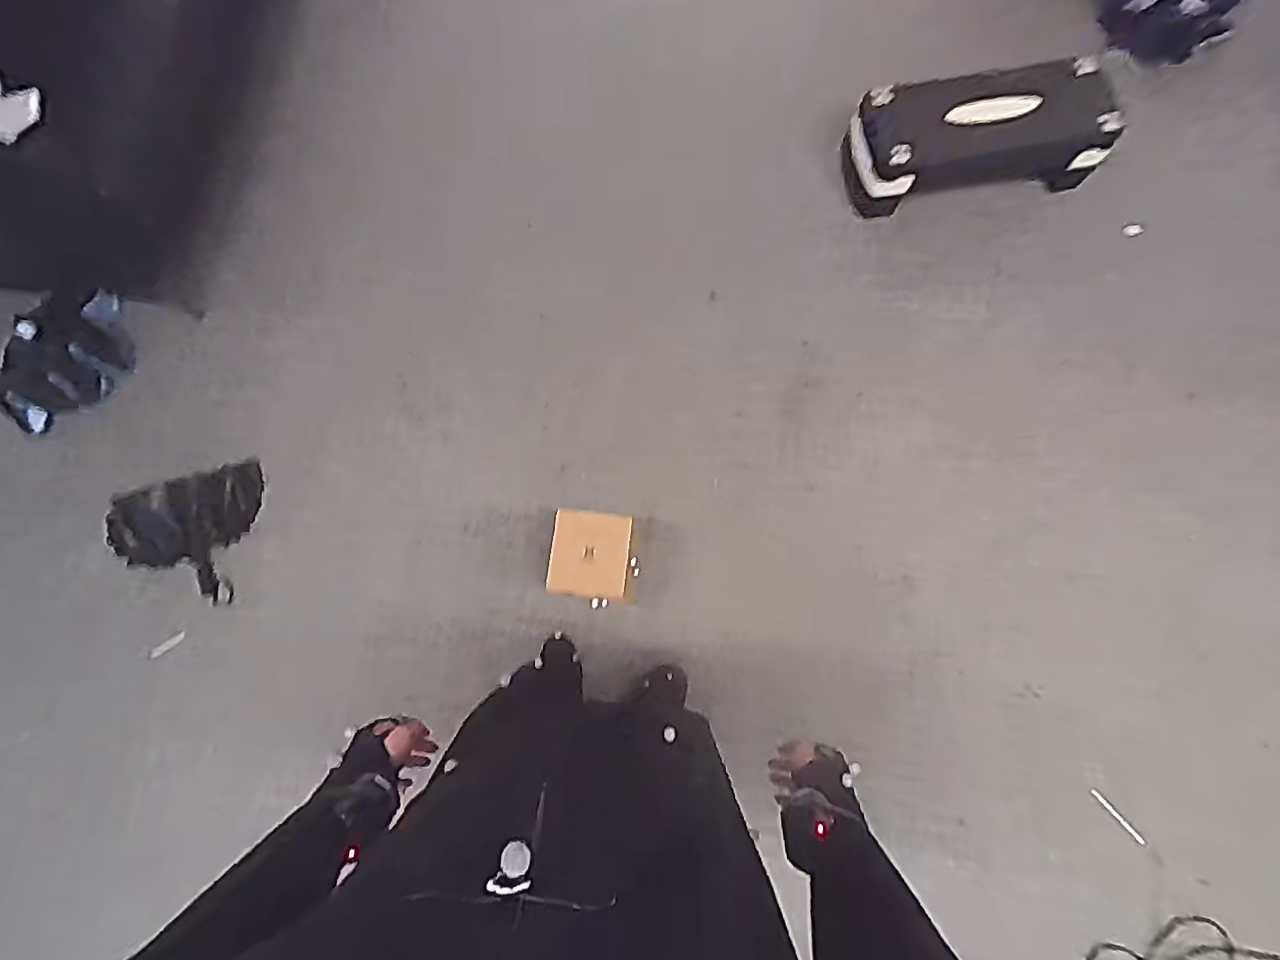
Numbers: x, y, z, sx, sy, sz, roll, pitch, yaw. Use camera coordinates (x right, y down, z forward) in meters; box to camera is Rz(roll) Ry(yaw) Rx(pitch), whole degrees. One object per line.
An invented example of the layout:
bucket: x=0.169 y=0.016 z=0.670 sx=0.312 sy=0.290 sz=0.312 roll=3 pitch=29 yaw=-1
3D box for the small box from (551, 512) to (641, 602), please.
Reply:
small box: x=-0.090 y=0.178 z=1.211 sx=0.168 sy=0.176 sz=0.179 roll=5 pitch=75 yaw=5

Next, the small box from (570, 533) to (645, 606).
small box: x=-0.082 y=0.220 z=1.367 sx=0.168 sy=0.176 sz=0.179 roll=6 pitch=77 yaw=7
